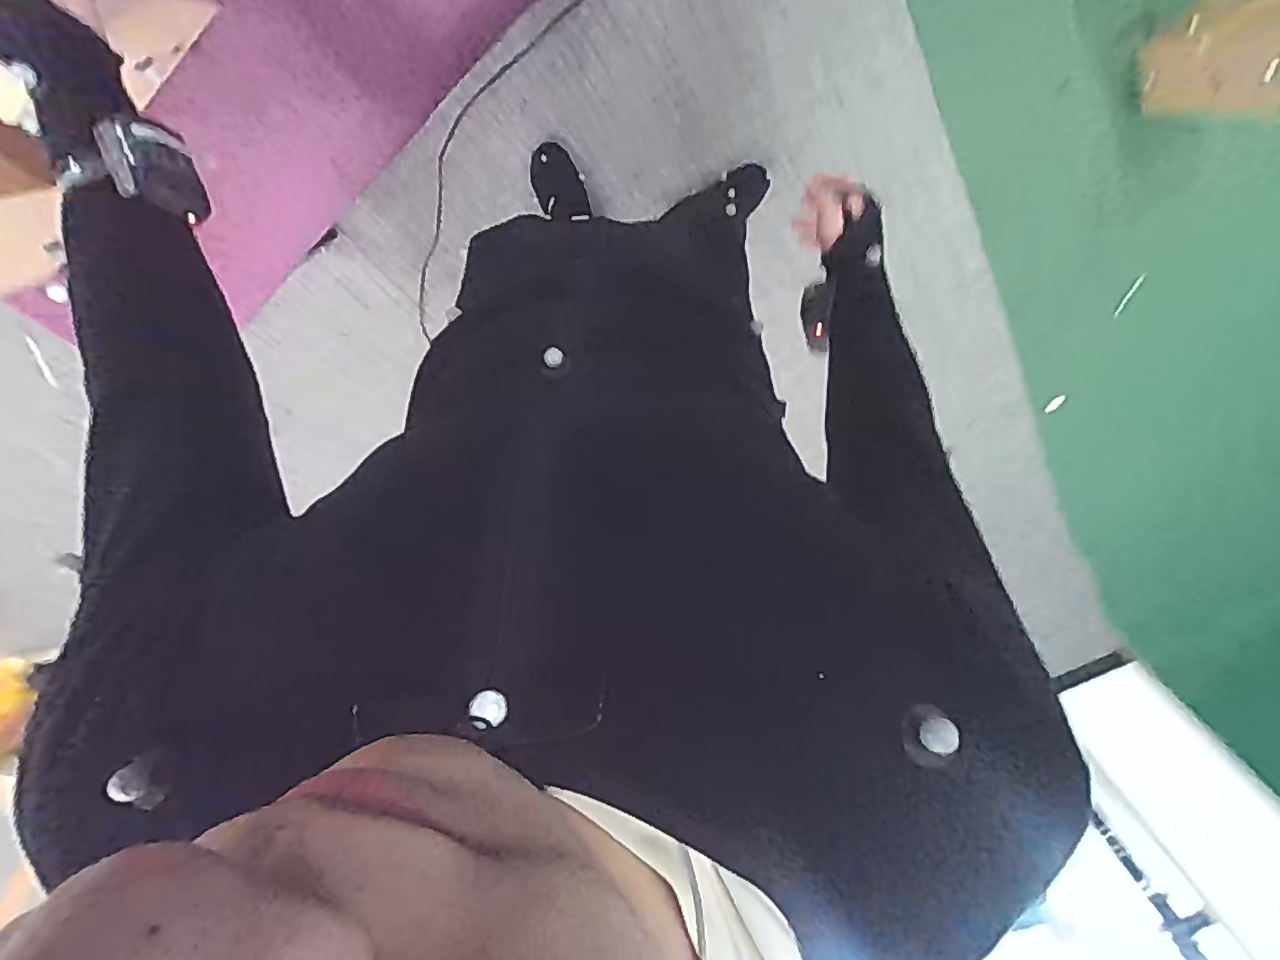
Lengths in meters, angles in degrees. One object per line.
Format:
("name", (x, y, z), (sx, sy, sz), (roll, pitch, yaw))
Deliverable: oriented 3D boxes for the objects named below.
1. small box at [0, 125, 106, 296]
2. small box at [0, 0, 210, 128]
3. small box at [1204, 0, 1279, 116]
("small box", (-0.733, -0.300, 0.556), (0.168, 0.176, 0.179), (-38, 122, 19))
("small box", (-0.547, -0.447, 0.475), (0.168, 0.176, 0.179), (-34, 123, 16))
("small box", (1.320, -0.879, 1.096), (0.179, 0.176, 0.168), (-31, 123, 14))
